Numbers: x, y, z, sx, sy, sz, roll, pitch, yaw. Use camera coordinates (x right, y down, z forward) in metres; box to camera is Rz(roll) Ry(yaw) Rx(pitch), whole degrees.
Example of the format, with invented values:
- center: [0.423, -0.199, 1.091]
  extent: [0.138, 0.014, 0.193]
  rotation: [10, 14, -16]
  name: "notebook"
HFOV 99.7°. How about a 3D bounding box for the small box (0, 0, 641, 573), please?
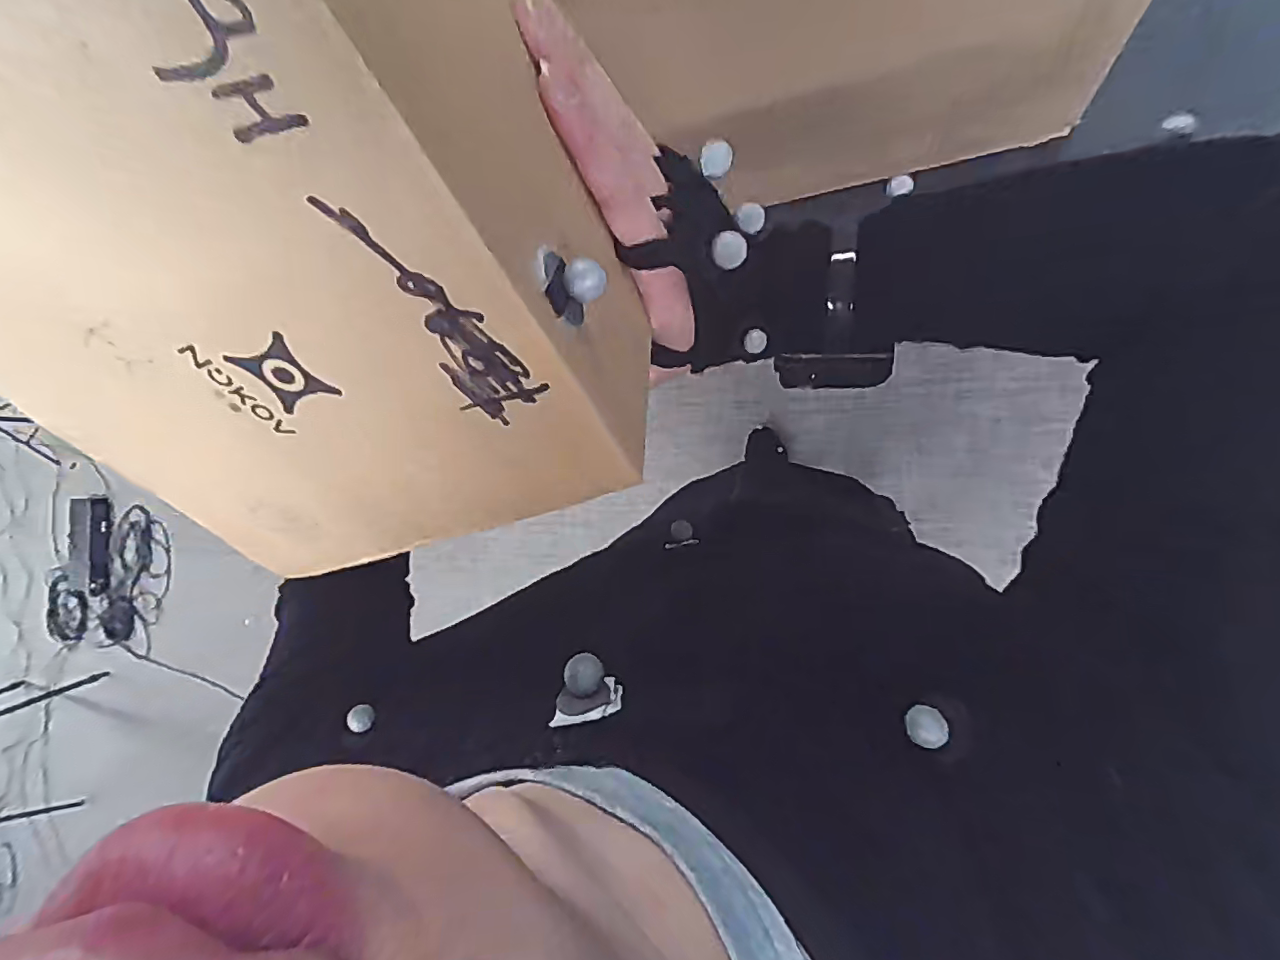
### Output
- center: [-0.109, -0.087, 0.215]
  extent: [0.179, 0.168, 0.176]
  rotation: [-13, 47, 19]
  name: "small box"
